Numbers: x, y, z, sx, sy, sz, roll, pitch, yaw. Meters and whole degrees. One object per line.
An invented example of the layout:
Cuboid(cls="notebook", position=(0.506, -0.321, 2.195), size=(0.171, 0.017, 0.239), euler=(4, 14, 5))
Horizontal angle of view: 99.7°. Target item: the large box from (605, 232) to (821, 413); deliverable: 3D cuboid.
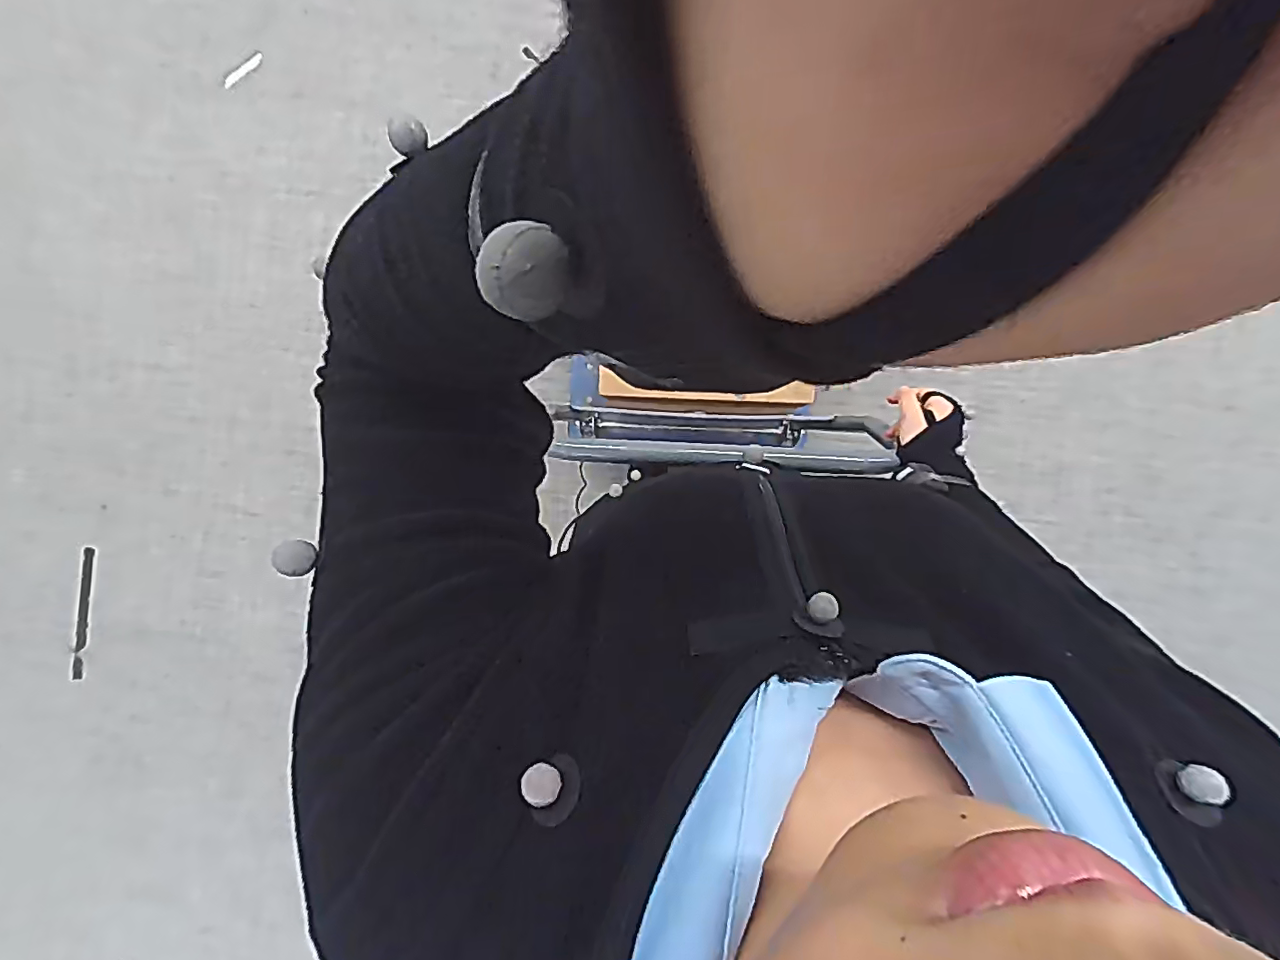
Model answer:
Cuboid(cls="large box", position=(0.137, -0.313, 1.164), size=(0.408, 0.320, 0.320), euler=(2, 94, 1))
